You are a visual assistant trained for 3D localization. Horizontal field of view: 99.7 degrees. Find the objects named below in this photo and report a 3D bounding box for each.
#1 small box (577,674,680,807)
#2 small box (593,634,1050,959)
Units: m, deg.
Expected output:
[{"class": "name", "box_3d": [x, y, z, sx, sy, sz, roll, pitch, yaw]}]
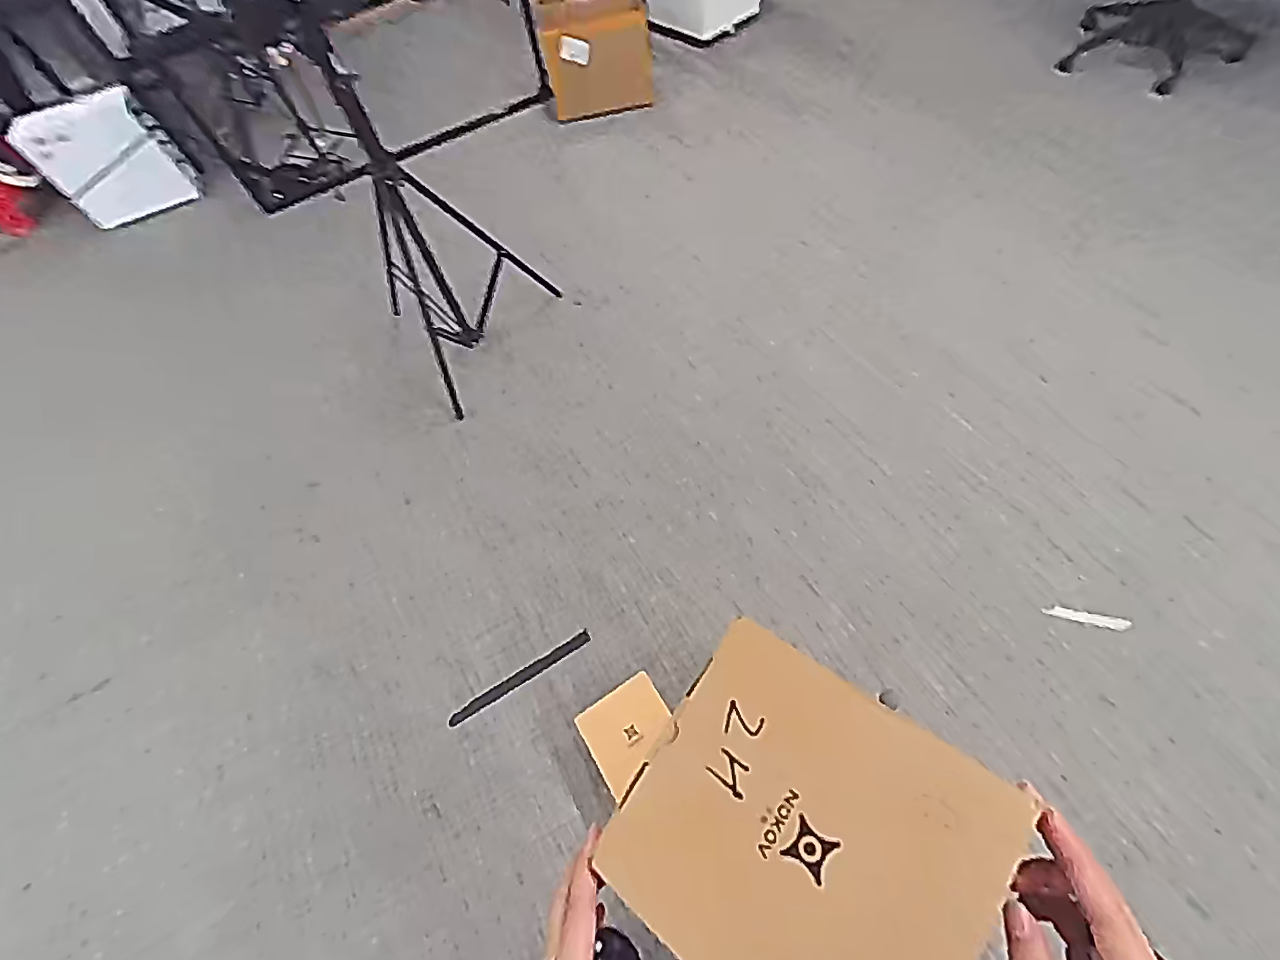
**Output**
[{"class": "small box", "box_3d": [-0.004, 0.524, 1.081, 0.168, 0.176, 0.179, -32, 61, -11]}, {"class": "small box", "box_3d": [0.107, 0.228, 0.349, 0.179, 0.176, 0.168, 28, 74, 28]}]
